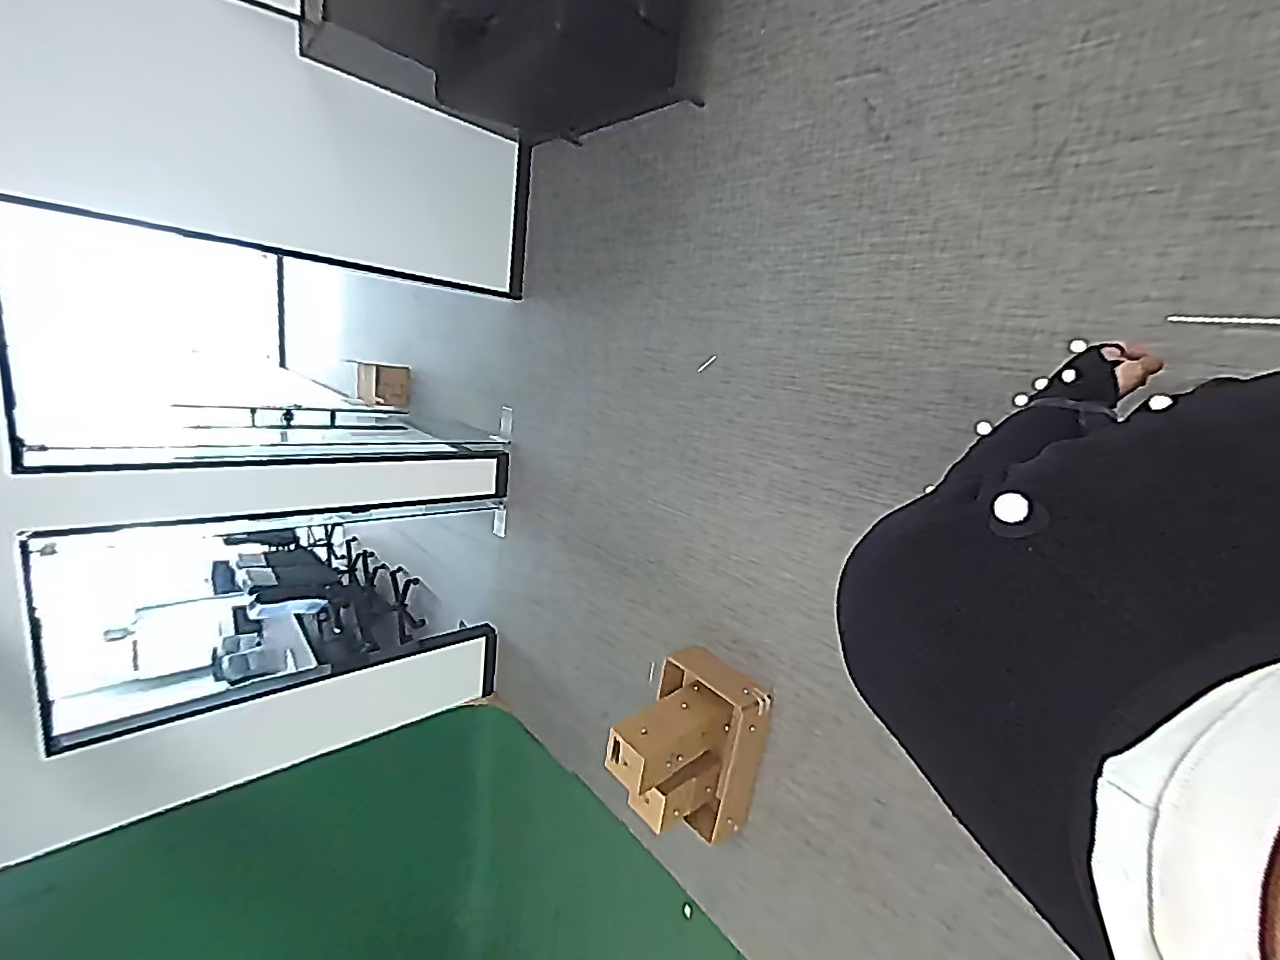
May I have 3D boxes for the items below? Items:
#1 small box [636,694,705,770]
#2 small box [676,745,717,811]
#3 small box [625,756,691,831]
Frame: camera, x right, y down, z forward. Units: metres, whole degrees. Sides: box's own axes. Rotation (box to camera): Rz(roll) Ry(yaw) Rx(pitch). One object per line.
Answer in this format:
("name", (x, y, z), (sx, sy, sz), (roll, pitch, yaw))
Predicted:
("small box", (0.110, 0.912, 1.985), (0.179, 0.176, 0.168), (22, 111, 44))
("small box", (0.186, 1.162, 2.159), (0.179, 0.176, 0.168), (22, 108, 44))
("small box", (0.070, 1.166, 2.047), (0.179, 0.176, 0.168), (20, 107, 44))
